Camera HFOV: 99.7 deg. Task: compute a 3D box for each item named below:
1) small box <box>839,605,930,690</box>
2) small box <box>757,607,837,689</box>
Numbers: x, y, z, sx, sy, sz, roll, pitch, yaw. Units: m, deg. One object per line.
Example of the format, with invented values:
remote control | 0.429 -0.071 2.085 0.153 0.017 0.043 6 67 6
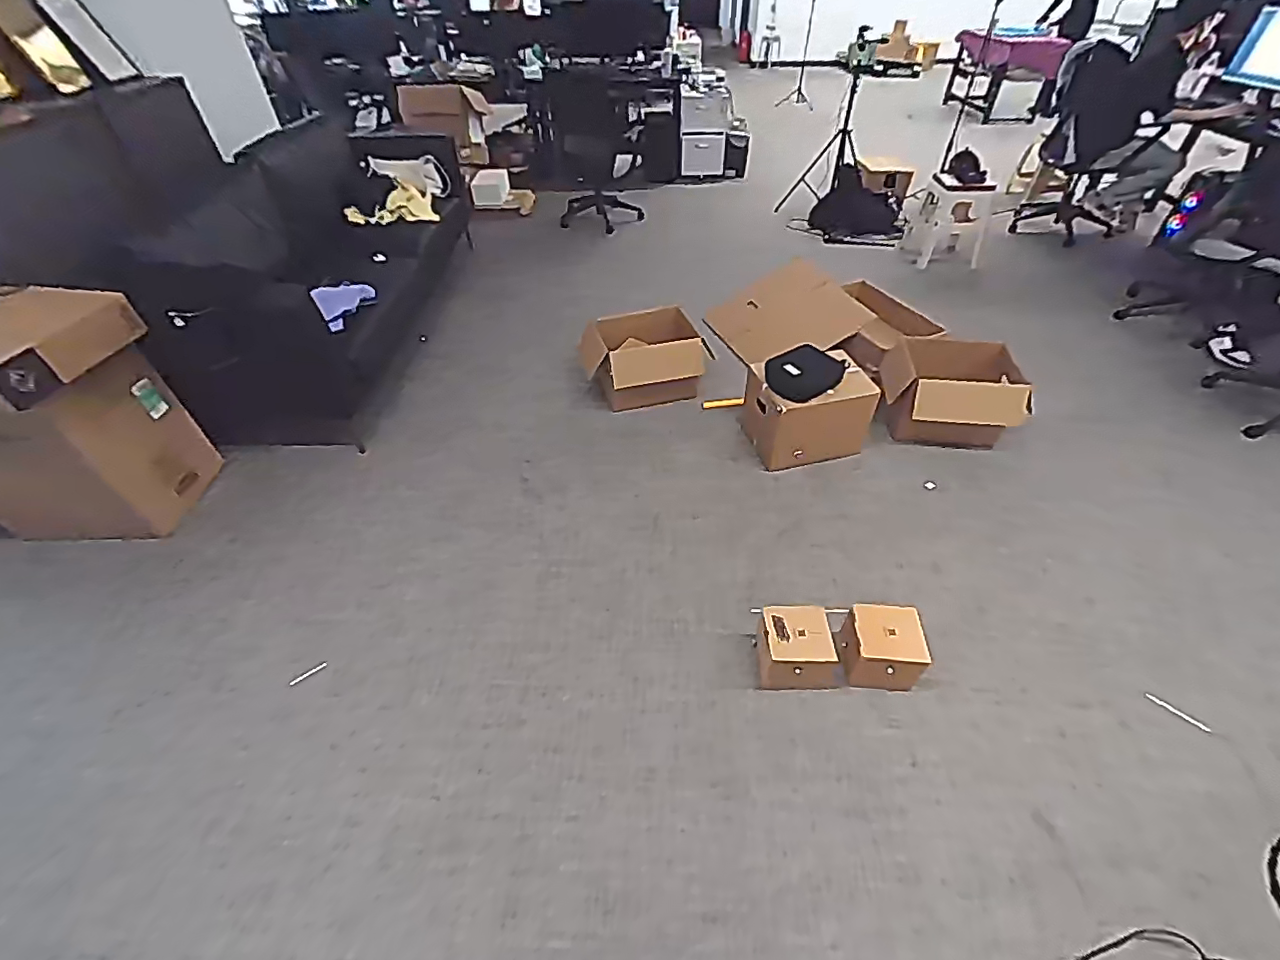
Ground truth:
small box | 0.673 0.468 1.507 0.179 0.176 0.168 2 45 6
small box | 0.427 0.472 1.511 0.179 0.176 0.168 0 45 1
